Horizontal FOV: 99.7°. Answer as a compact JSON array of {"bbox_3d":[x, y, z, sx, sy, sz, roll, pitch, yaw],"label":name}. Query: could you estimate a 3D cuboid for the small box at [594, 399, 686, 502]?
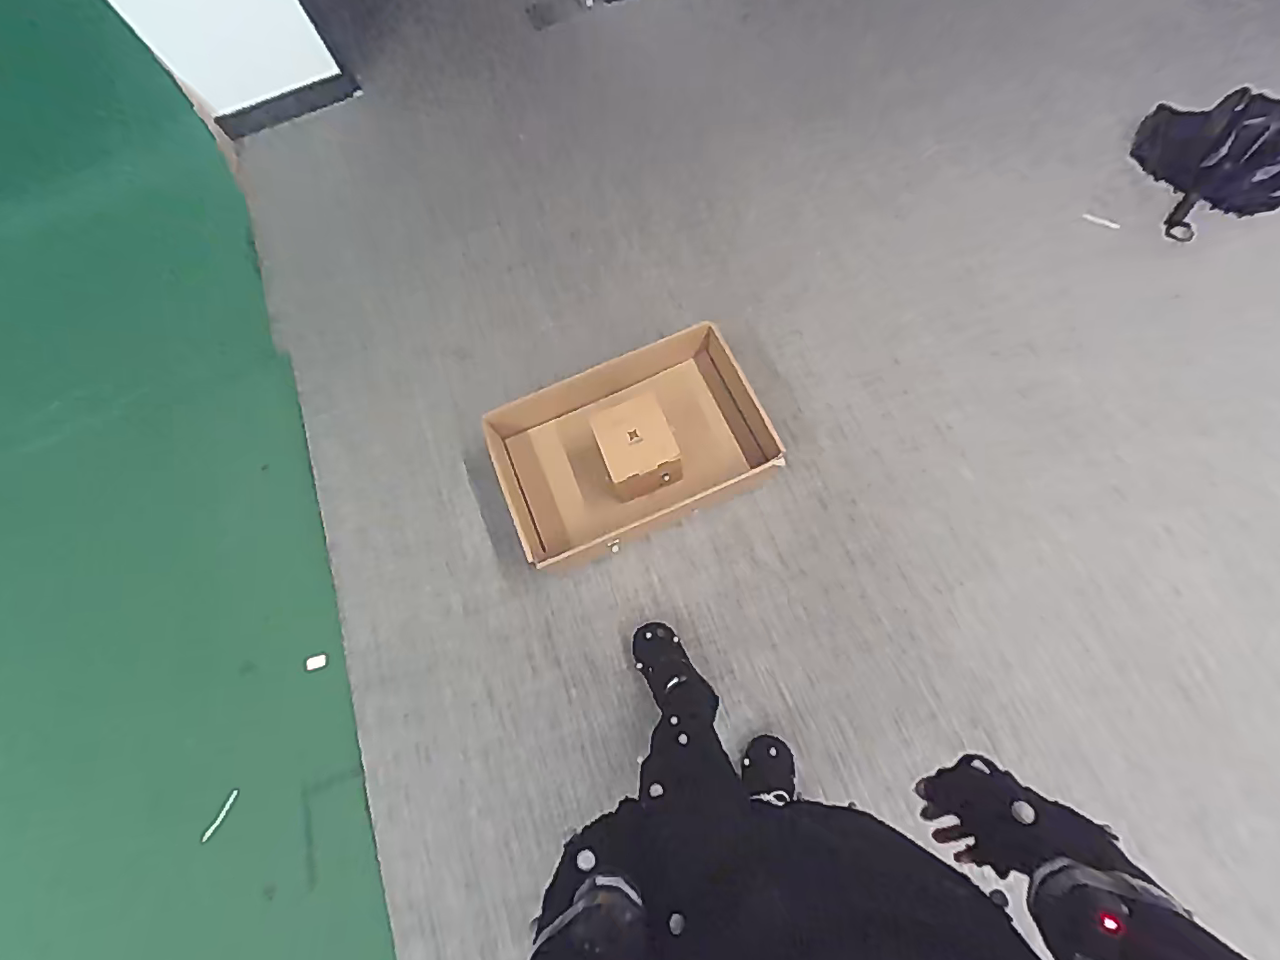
[{"bbox_3d":[0.006,-0.060,1.291,0.168,0.176,0.179,-21,70,-2],"label":"small box"}]
